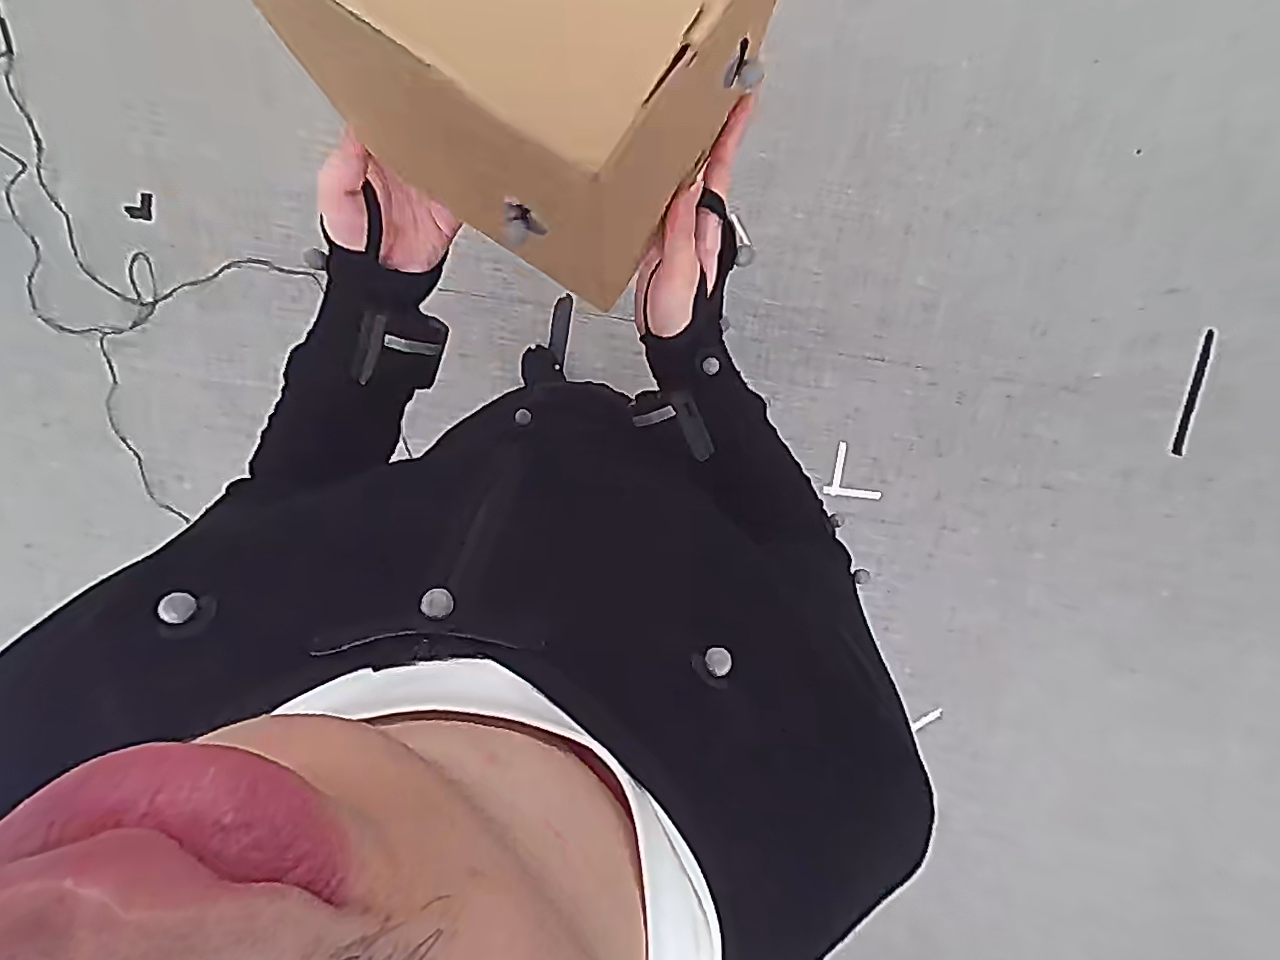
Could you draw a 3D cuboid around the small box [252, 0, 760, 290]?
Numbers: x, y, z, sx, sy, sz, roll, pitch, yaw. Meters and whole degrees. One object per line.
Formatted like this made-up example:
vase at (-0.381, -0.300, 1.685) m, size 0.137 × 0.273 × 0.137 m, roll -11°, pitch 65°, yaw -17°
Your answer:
small box at (-0.047, -0.223, 0.276) m, size 0.179 × 0.176 × 0.168 m, roll 31°, pitch 88°, yaw -2°
